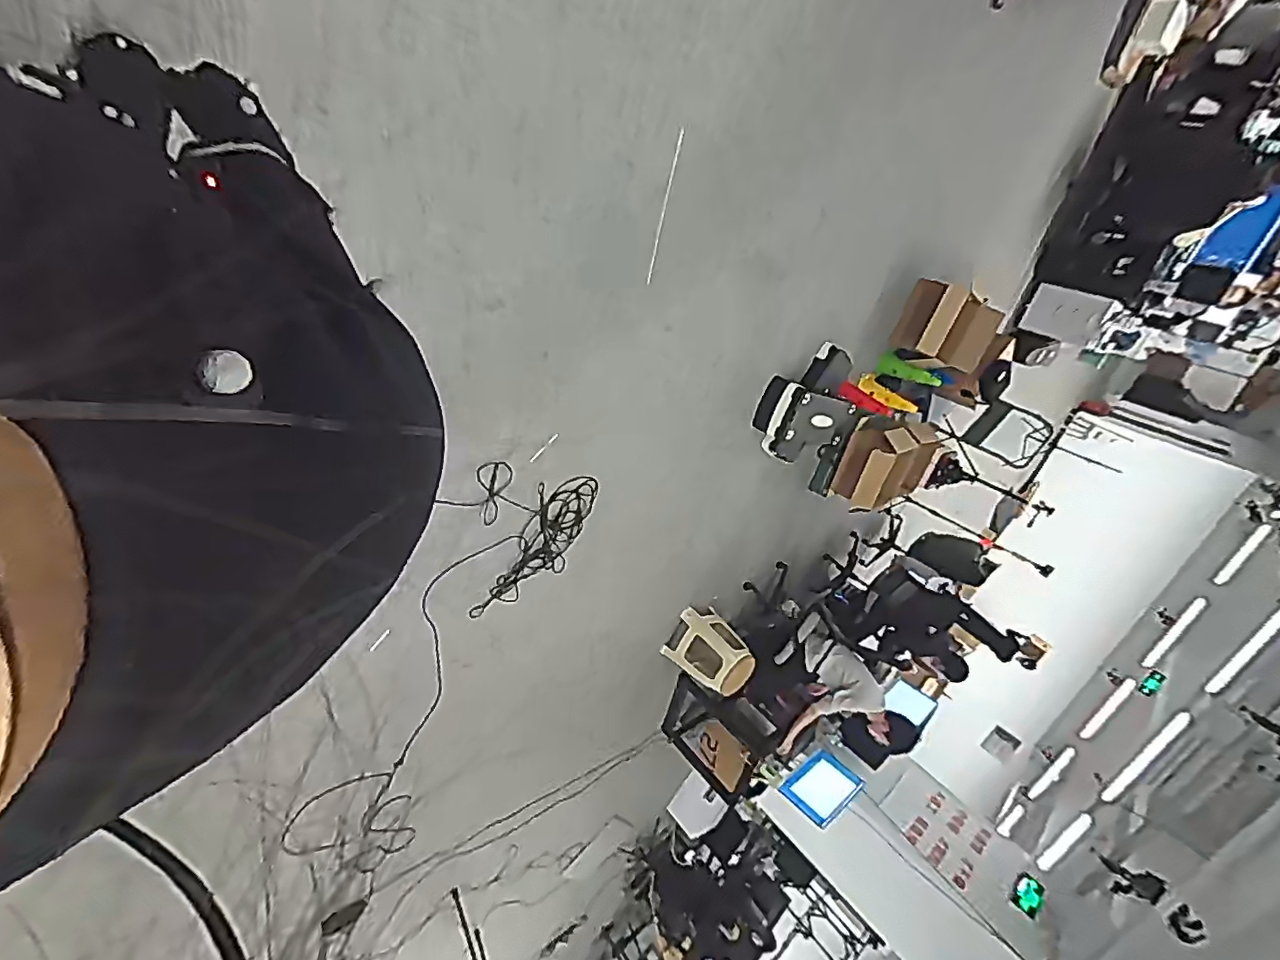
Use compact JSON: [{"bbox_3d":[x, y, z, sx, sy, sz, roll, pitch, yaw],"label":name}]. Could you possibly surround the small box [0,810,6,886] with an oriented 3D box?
[{"bbox_3d":[-1.611,0.865,1.247,0.168,0.176,0.179,-10,125,-41],"label":"small box"}]
